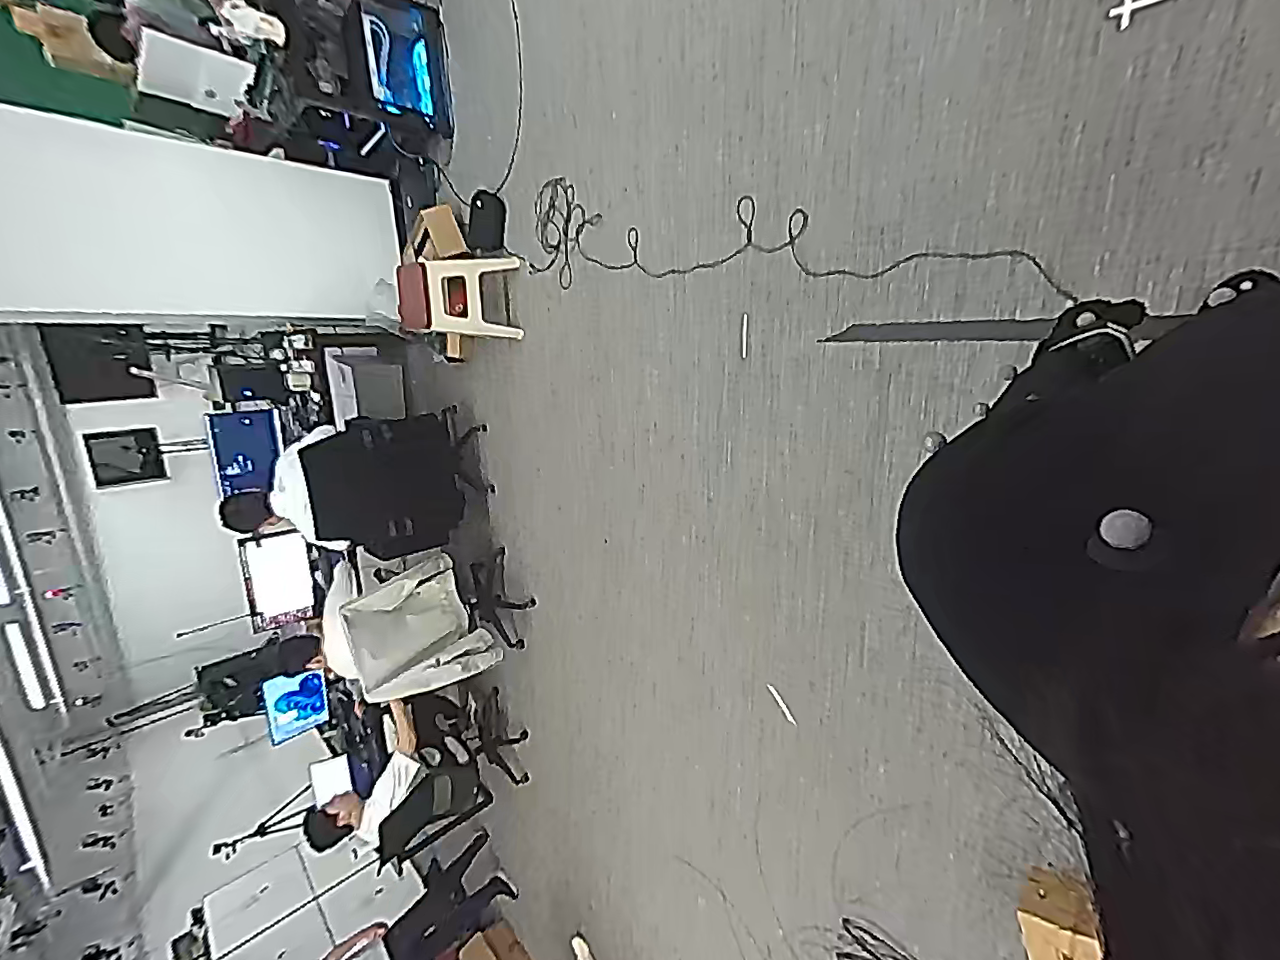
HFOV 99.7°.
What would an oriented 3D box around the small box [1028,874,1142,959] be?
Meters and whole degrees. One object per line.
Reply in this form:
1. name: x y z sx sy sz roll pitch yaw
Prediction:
1. small box: 1.090 1.117 1.323 0.179 0.176 0.168 -14 91 48
